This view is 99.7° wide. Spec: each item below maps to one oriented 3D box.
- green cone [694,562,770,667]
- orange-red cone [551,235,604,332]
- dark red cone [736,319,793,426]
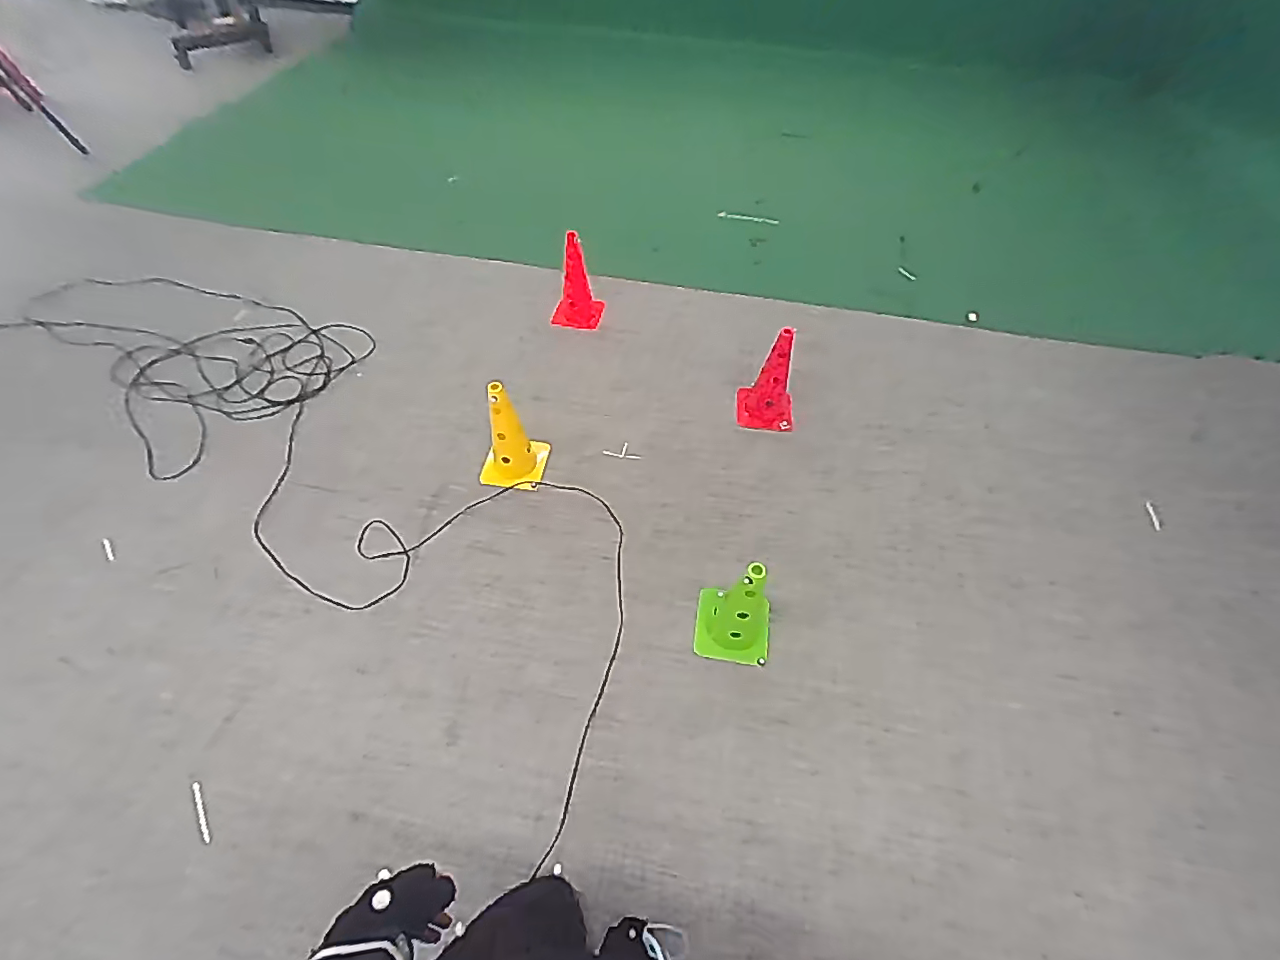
[{"bbox_3d":[0.258,0.307,1.366,0.202,0.368,0.200,8,54,6],"label":"green cone"},{"bbox_3d":[-0.263,-0.798,2.155,0.198,0.360,0.199,9,55,7],"label":"orange-red cone"},{"bbox_3d":[0.454,-0.372,1.834,0.202,0.394,0.201,5,53,2],"label":"dark red cone"}]
